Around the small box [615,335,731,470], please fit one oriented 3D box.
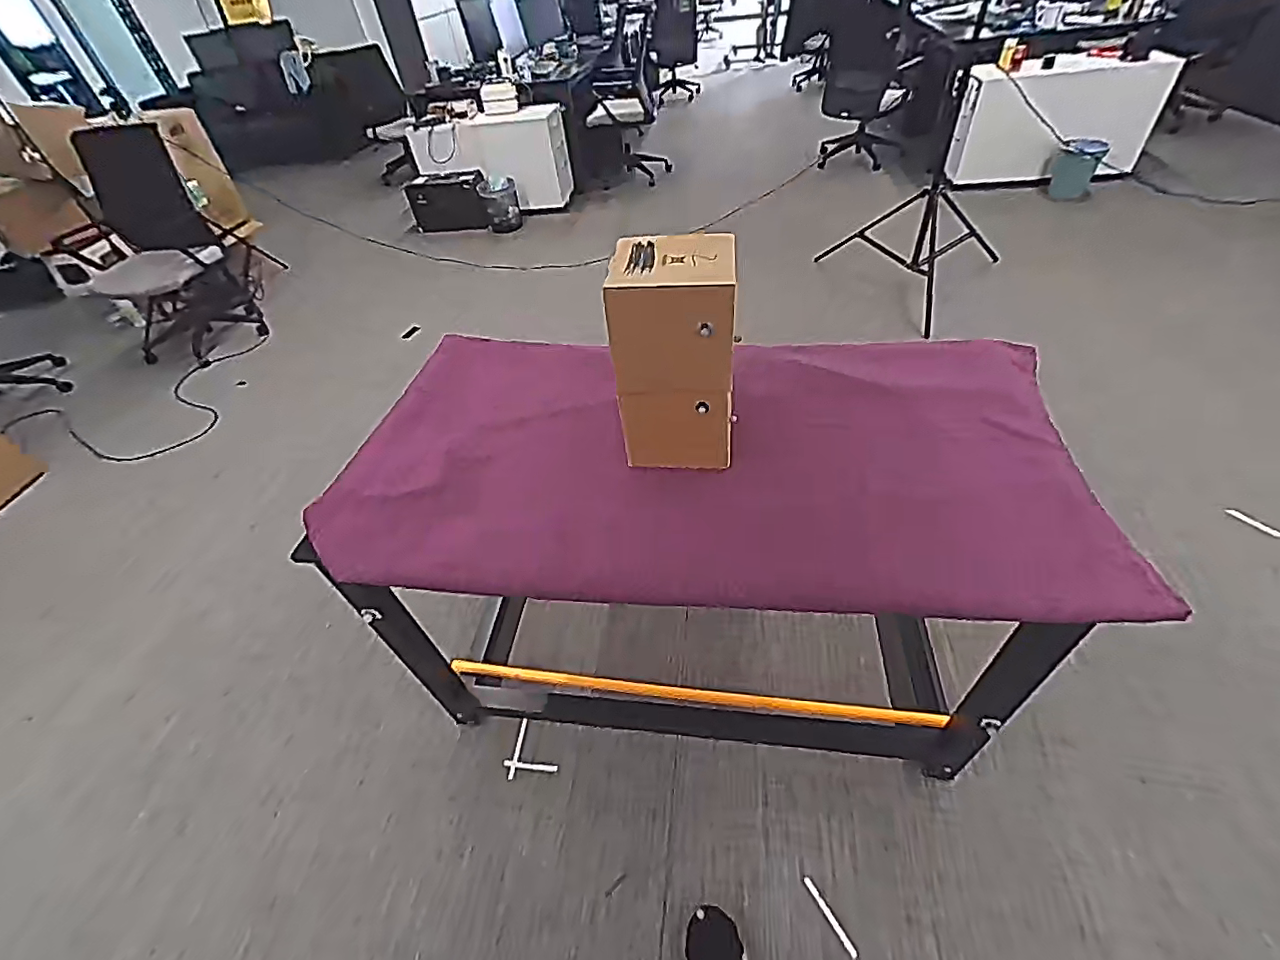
[{"bbox_3d":[0.066,-0.132,0.927,0.179,0.176,0.168,2,45,9],"label":"small box"}]
